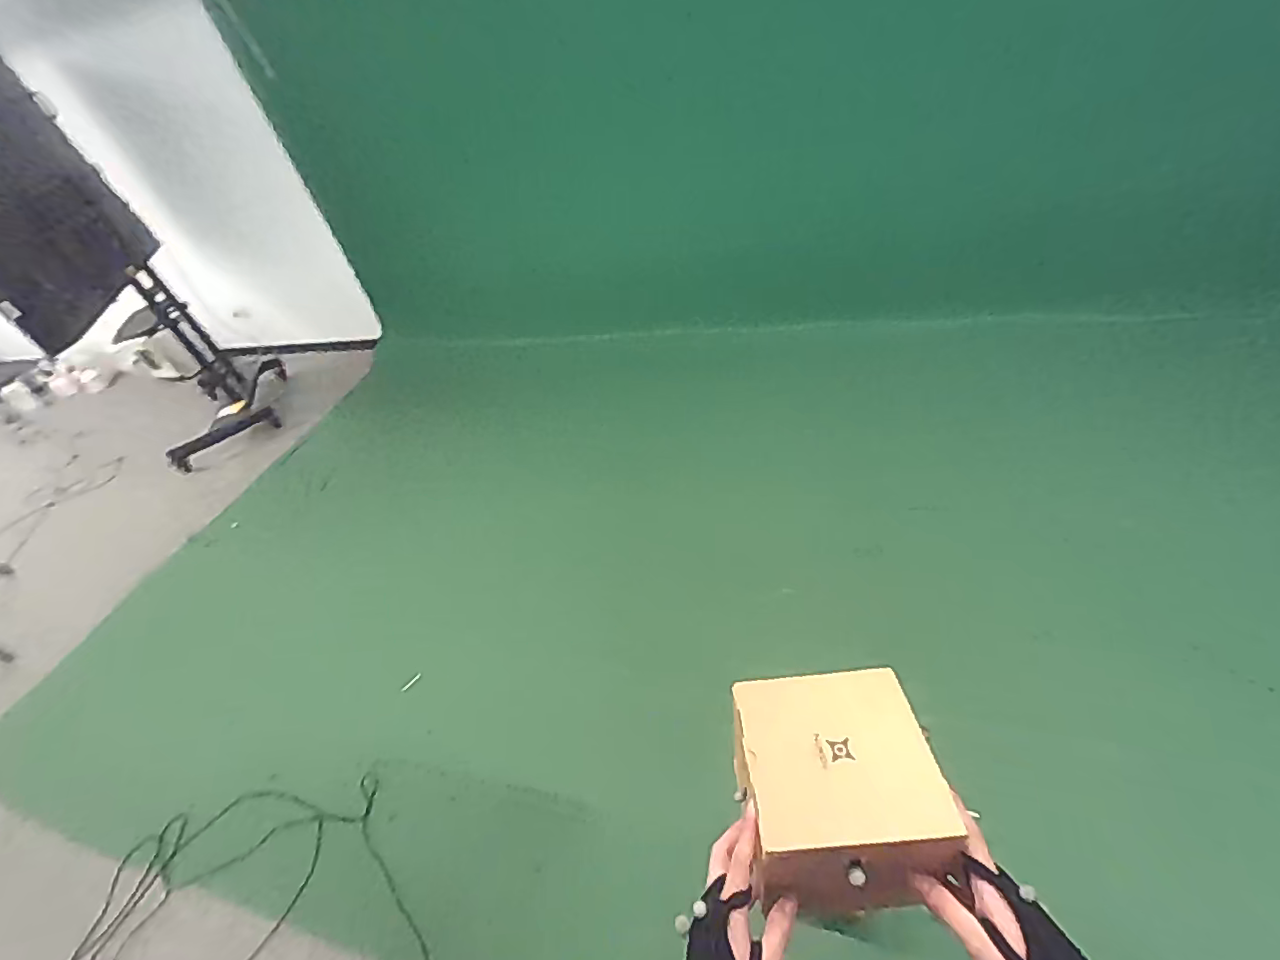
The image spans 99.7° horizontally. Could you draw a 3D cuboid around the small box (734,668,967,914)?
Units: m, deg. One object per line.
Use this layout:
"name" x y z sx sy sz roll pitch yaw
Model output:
"small box" 0.199 0.325 0.568 0.179 0.176 0.168 -8 35 3
